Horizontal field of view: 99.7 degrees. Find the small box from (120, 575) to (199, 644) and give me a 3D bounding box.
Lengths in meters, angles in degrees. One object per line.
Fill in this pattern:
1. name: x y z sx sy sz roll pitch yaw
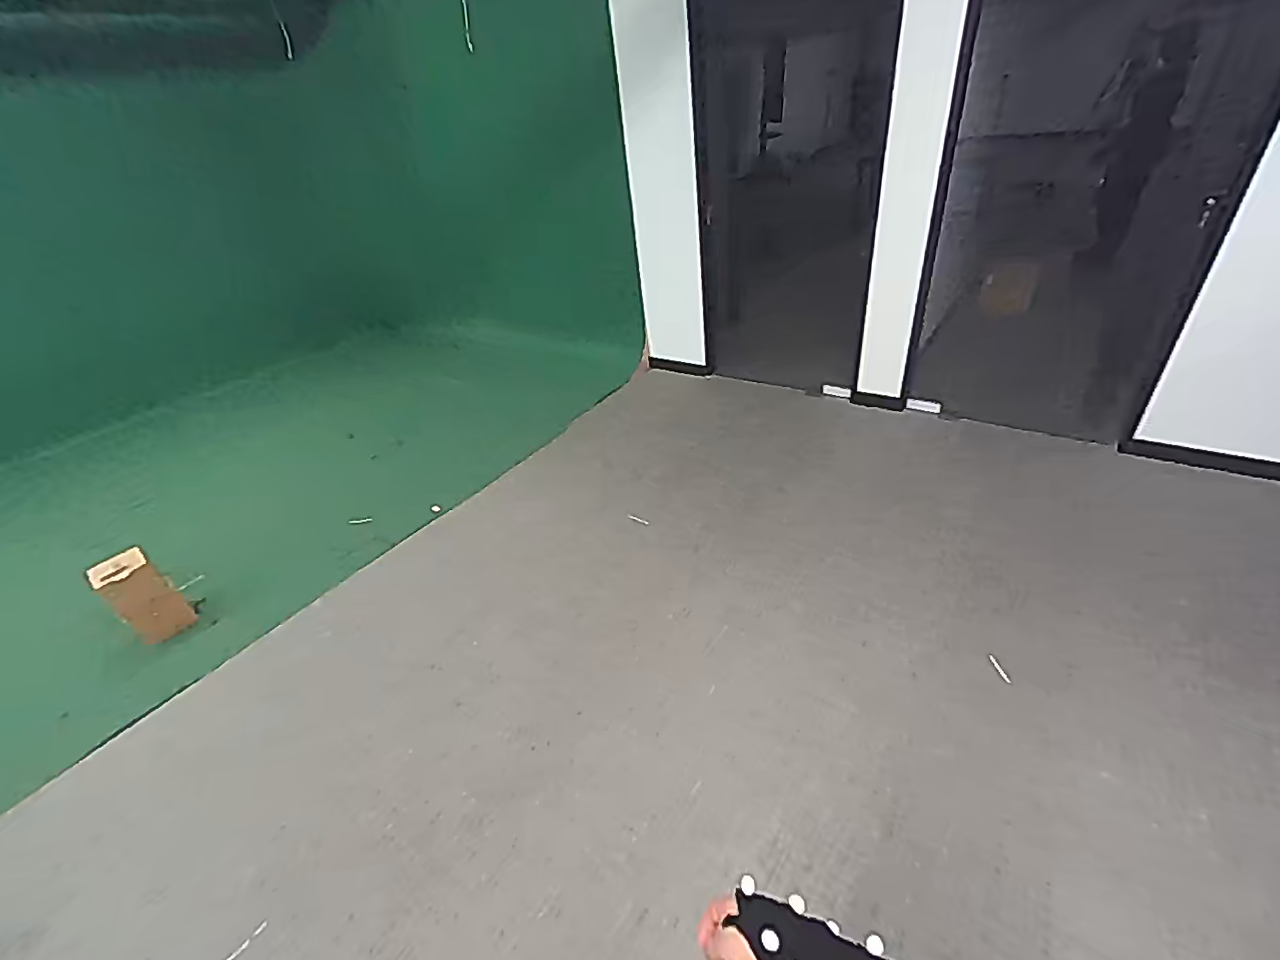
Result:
1. small box: -1.930 0.523 2.183 0.168 0.176 0.179 22 45 35
